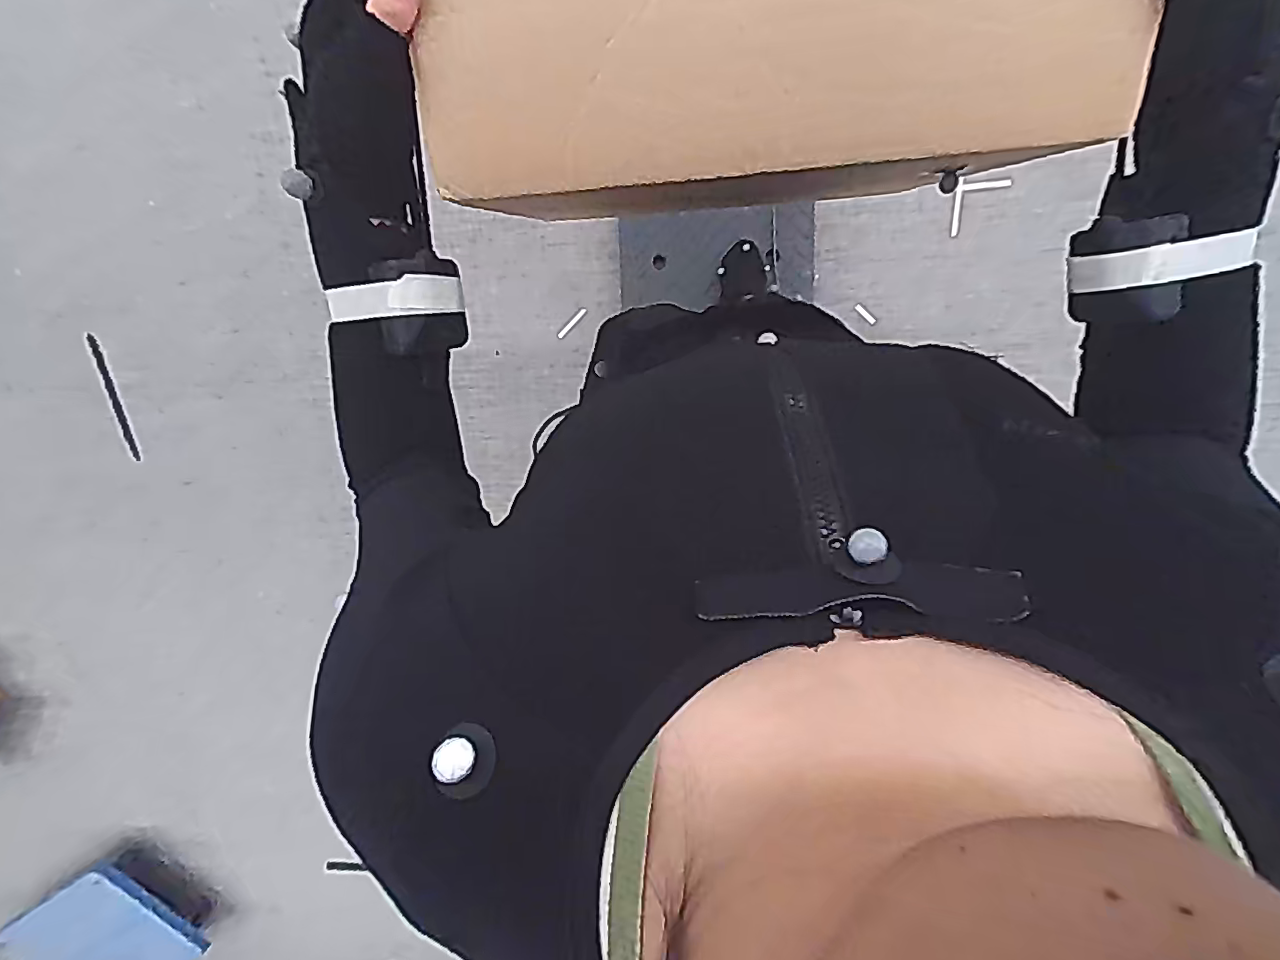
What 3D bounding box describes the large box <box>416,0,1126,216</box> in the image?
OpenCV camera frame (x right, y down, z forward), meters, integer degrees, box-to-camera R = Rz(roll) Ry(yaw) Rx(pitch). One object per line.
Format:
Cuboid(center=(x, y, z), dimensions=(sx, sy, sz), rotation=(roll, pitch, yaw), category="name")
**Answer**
Cuboid(center=(0.072, -0.394, 0.412), dimensions=(0.408, 0.320, 0.320), rotation=(-3, 113, 4), category="large box")
